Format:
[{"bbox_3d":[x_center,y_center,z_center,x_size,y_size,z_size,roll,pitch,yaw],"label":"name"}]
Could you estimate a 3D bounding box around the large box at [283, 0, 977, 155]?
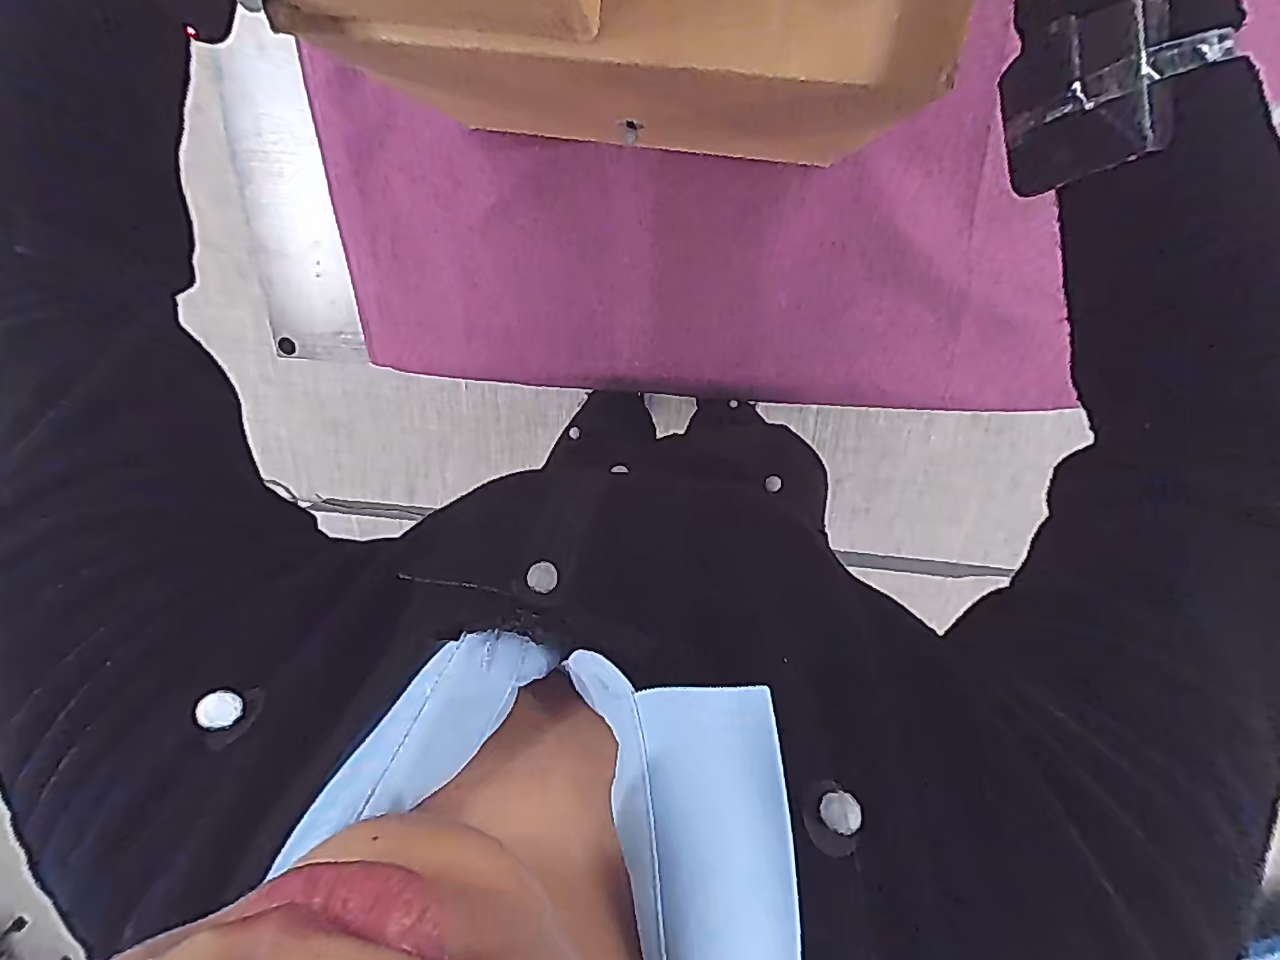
[{"bbox_3d":[0.011,-0.443,0.392,0.408,0.320,0.320,7,112,4],"label":"large box"}]
